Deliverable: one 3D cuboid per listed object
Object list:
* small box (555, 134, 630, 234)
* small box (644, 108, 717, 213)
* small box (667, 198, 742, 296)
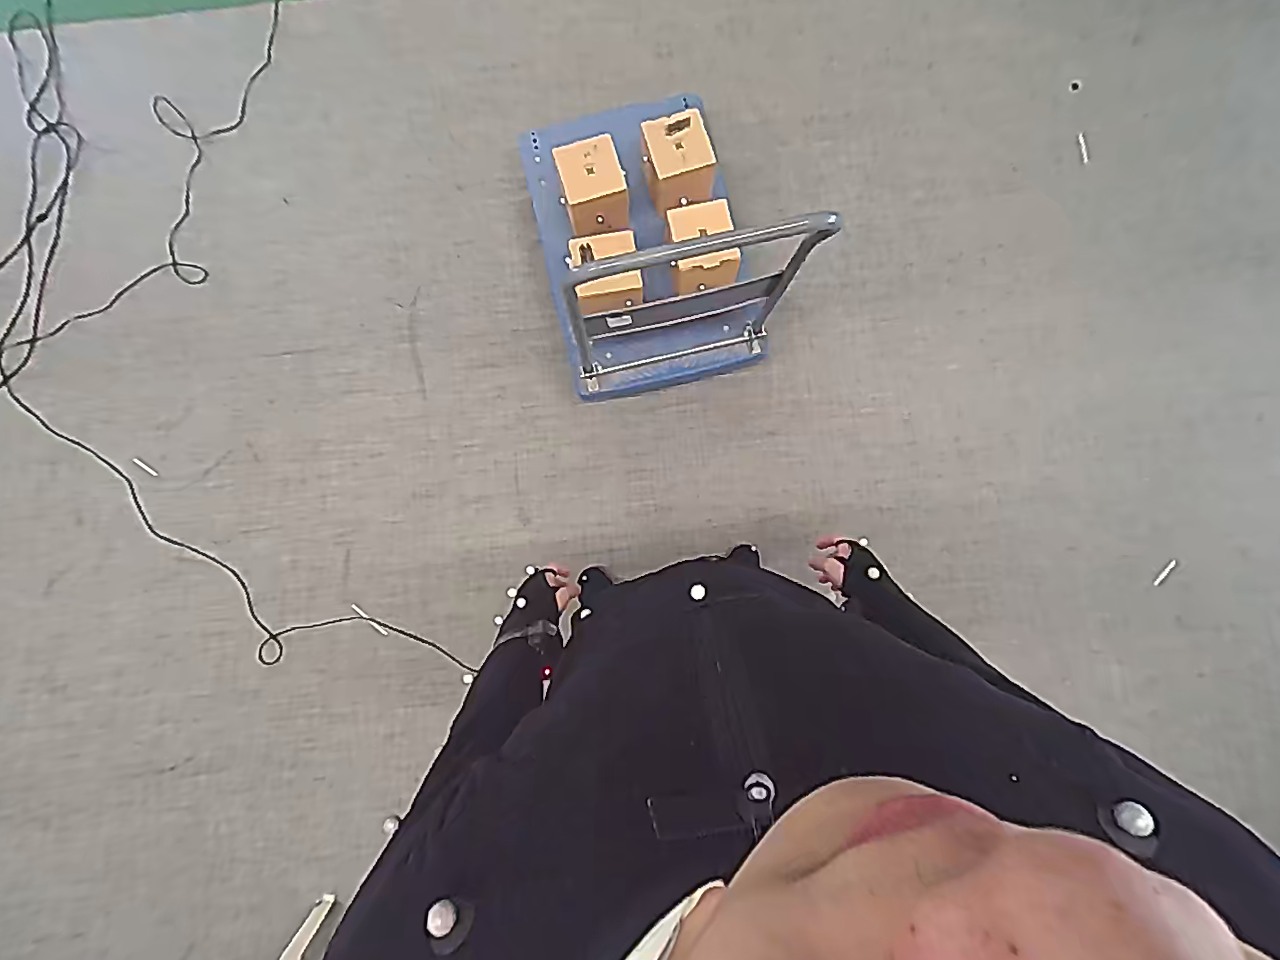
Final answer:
[{"bbox_3d":[-0.129,-0.834,1.546,0.168,0.176,0.179,-17,83,-2],"label":"small box"},{"bbox_3d":[0.111,-0.909,1.552,0.168,0.176,0.179,-17,83,0],"label":"small box"},{"bbox_3d":[0.175,-0.648,1.518,0.168,0.176,0.179,-13,83,-1],"label":"small box"}]
